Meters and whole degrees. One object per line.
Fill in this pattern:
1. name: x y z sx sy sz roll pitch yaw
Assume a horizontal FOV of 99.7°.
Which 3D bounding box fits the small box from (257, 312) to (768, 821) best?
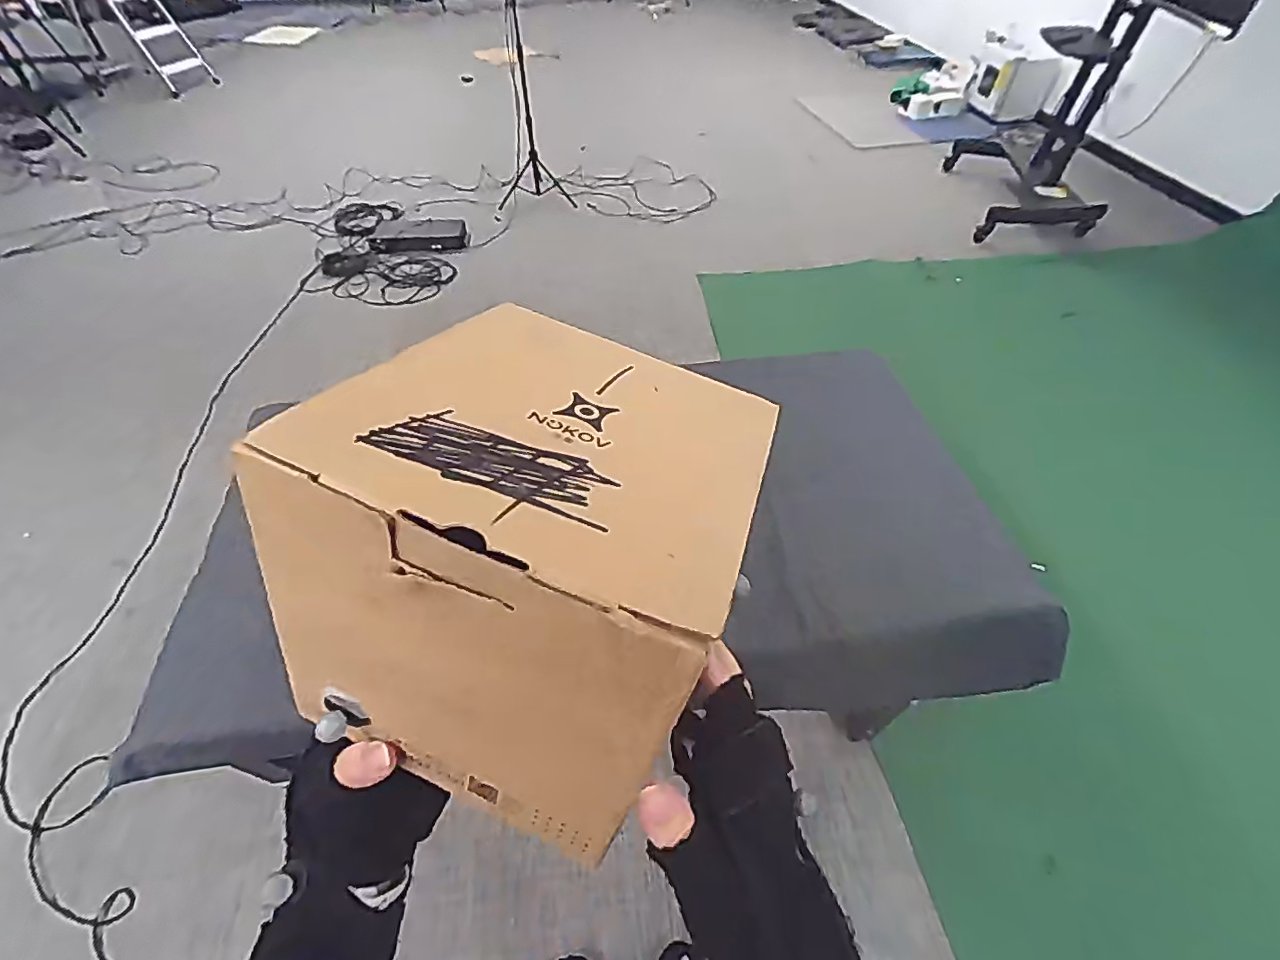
1. small box: -0.049 0.037 0.288 0.168 0.176 0.179 22 36 7
